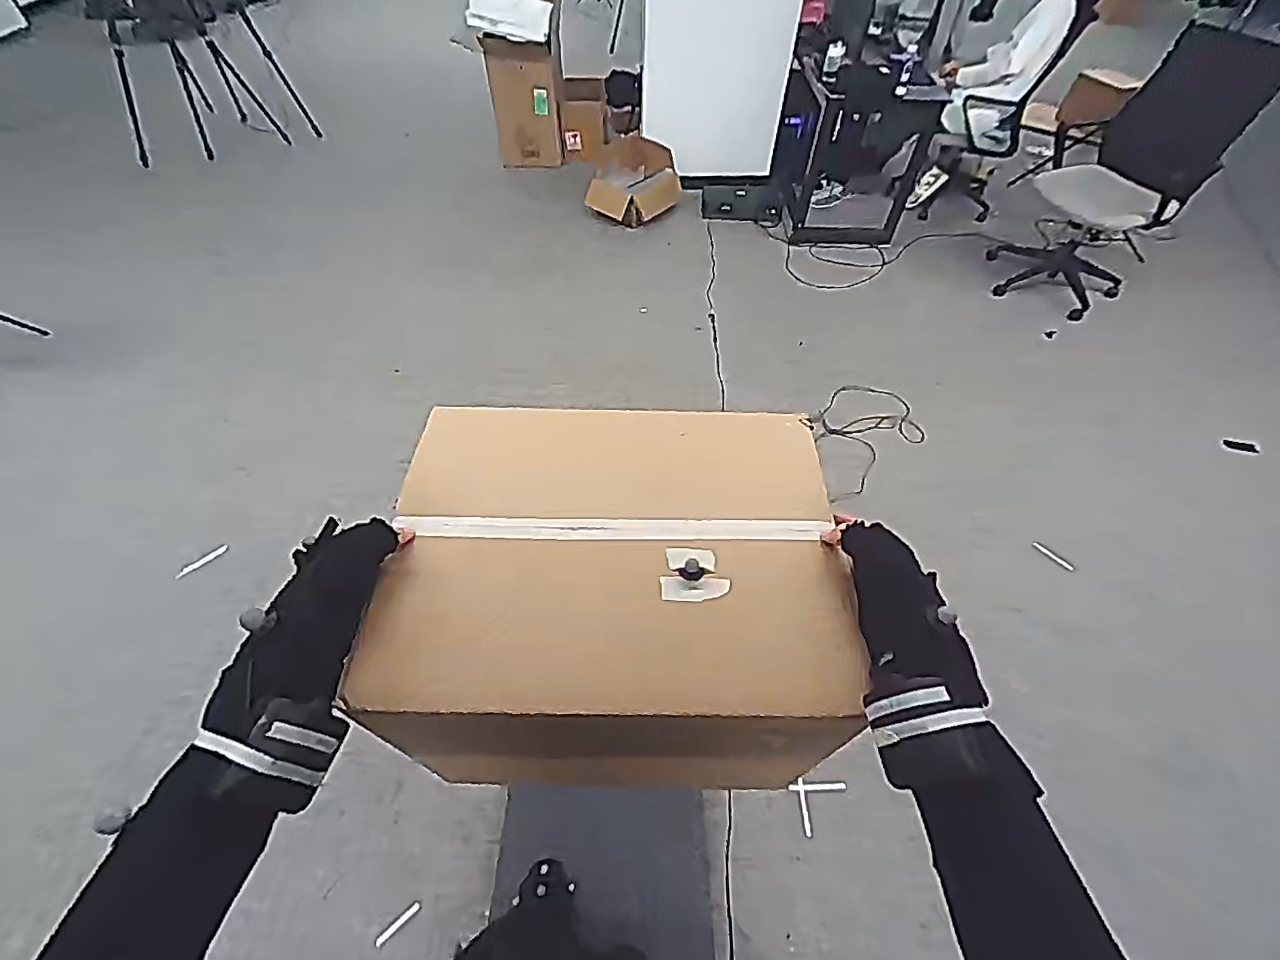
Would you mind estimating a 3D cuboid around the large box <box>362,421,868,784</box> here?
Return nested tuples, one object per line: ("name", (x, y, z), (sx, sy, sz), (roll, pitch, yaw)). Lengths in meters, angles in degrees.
("large box", (-0.022, 0.149, 0.625), (0.408, 0.320, 0.320), (1, 52, -1))
